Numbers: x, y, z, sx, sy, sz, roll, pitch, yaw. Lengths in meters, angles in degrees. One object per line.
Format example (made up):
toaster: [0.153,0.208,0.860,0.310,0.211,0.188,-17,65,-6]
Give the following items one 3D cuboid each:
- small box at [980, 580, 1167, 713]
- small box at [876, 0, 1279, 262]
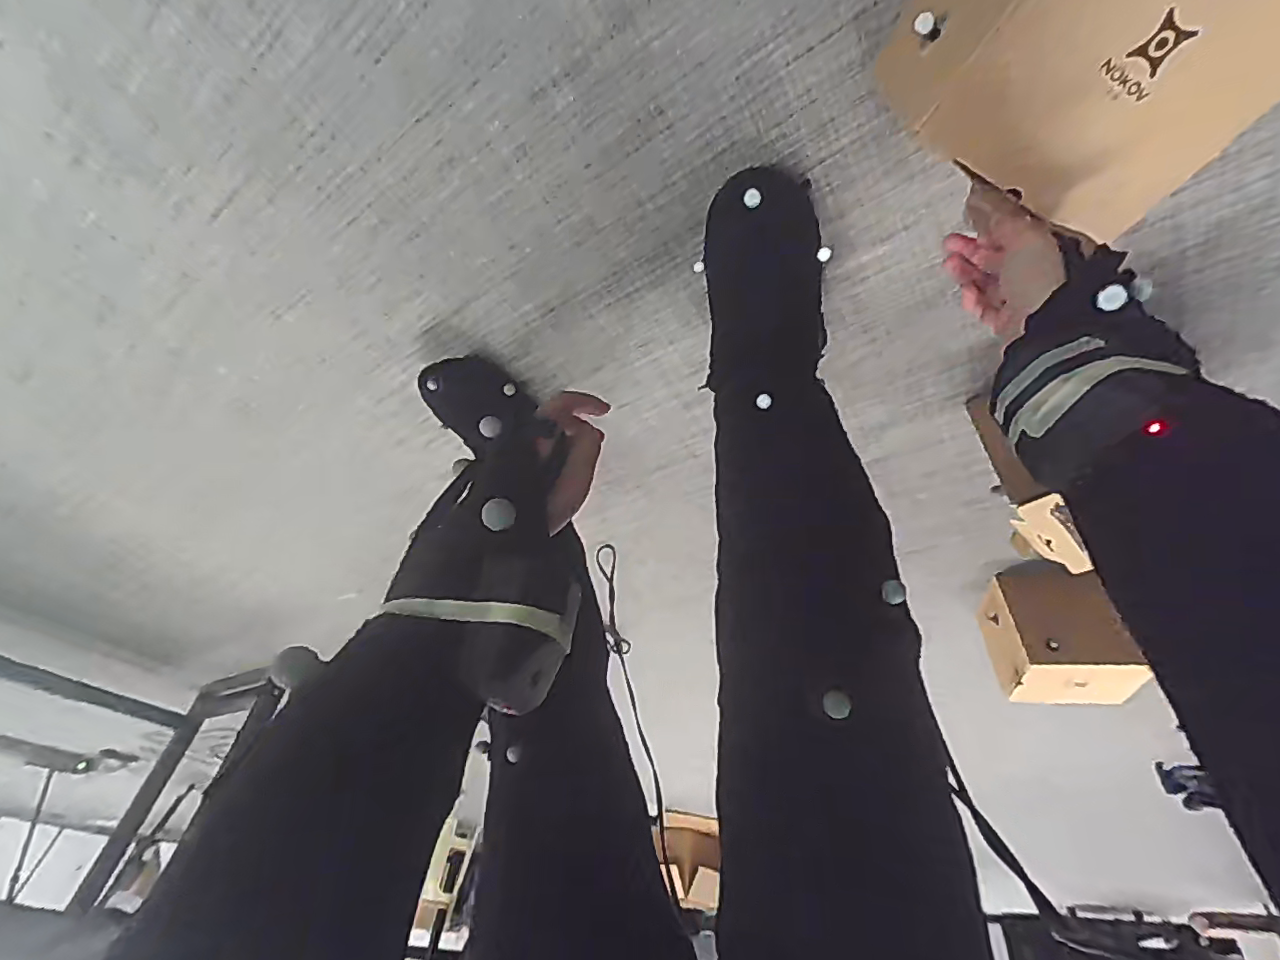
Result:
small box: [0.714,0.280,0.917,0.179,0.176,0.168,-5,137,15]
small box: [0.279,-0.284,0.345,0.168,0.176,0.179,21,133,-16]
